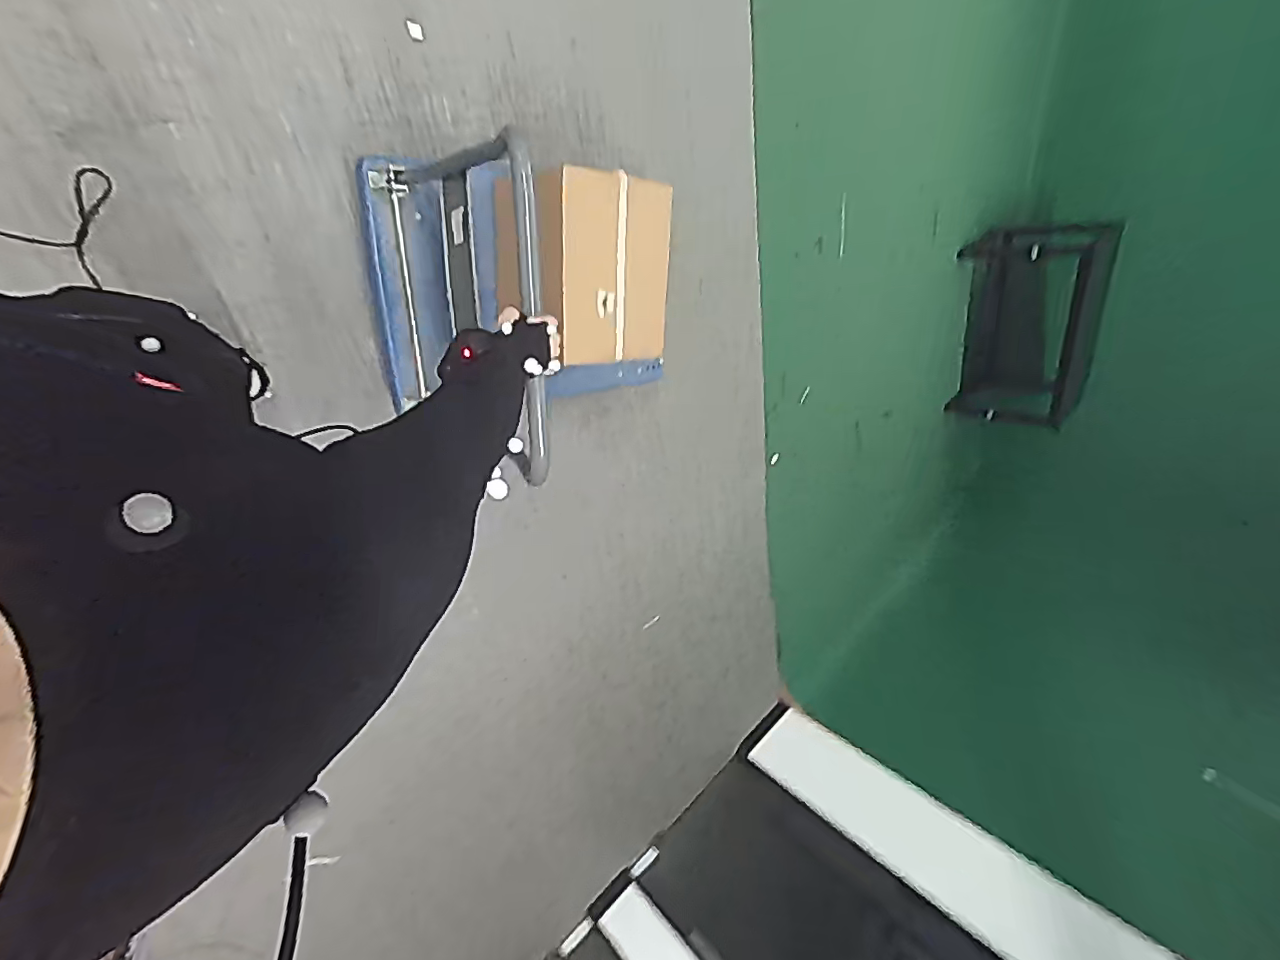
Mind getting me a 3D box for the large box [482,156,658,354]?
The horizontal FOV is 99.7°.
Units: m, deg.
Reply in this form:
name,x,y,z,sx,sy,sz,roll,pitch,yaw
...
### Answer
name,x,y,z,sx,sy,sz,roll,pitch,yaw
large box,-0.175,-0.548,1.356,0.320,0.320,0.408,-15,117,-39
